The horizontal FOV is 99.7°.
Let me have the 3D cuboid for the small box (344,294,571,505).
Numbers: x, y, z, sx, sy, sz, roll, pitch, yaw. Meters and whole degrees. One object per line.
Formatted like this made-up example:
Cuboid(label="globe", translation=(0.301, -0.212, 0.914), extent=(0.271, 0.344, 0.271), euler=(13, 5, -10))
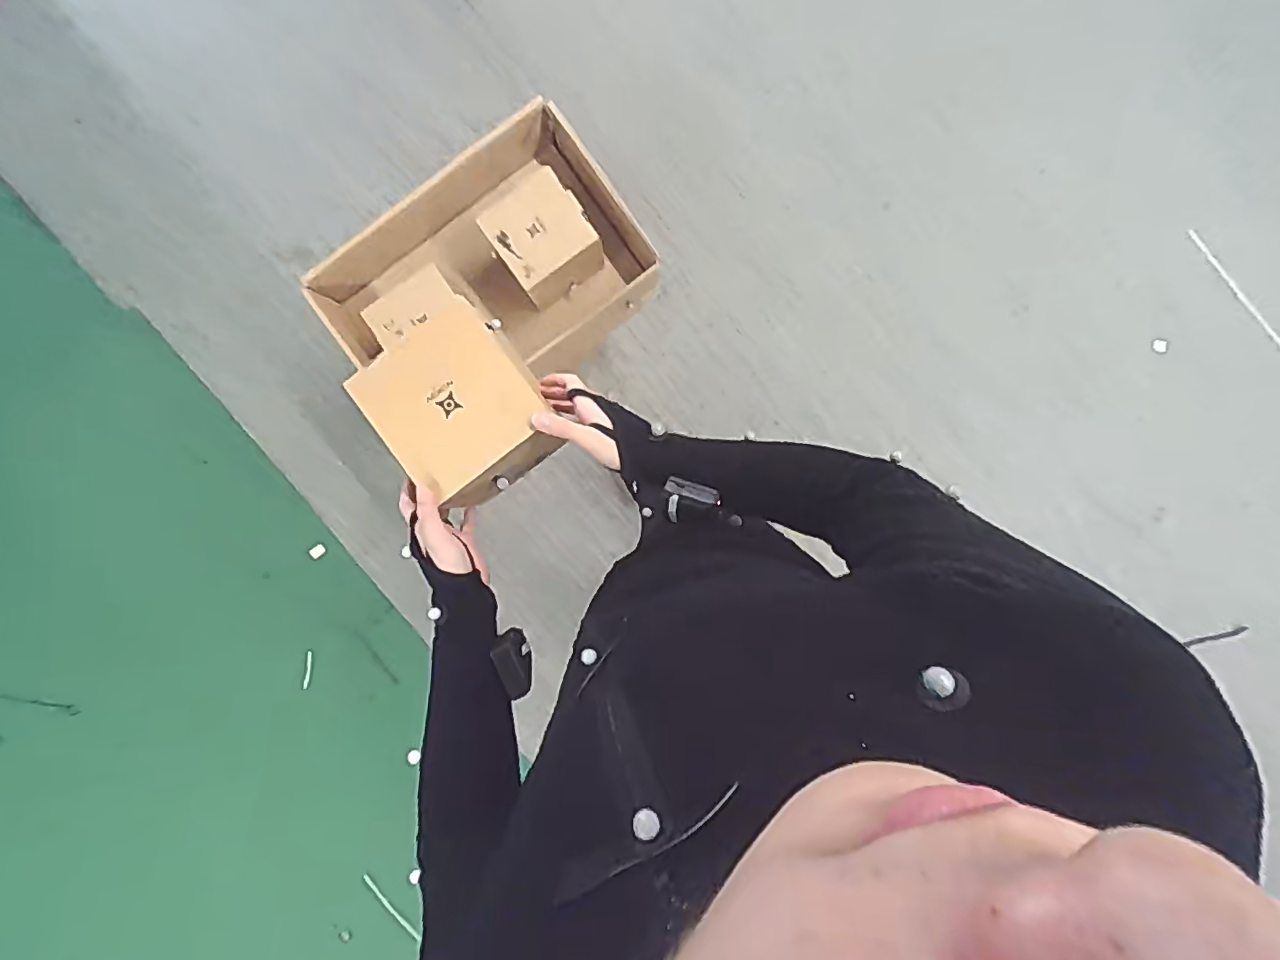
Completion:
Cuboid(label="small box", translation=(-0.206, -0.087, 0.666), extent=(0.168, 0.176, 0.179), euler=(-37, 86, 1))
